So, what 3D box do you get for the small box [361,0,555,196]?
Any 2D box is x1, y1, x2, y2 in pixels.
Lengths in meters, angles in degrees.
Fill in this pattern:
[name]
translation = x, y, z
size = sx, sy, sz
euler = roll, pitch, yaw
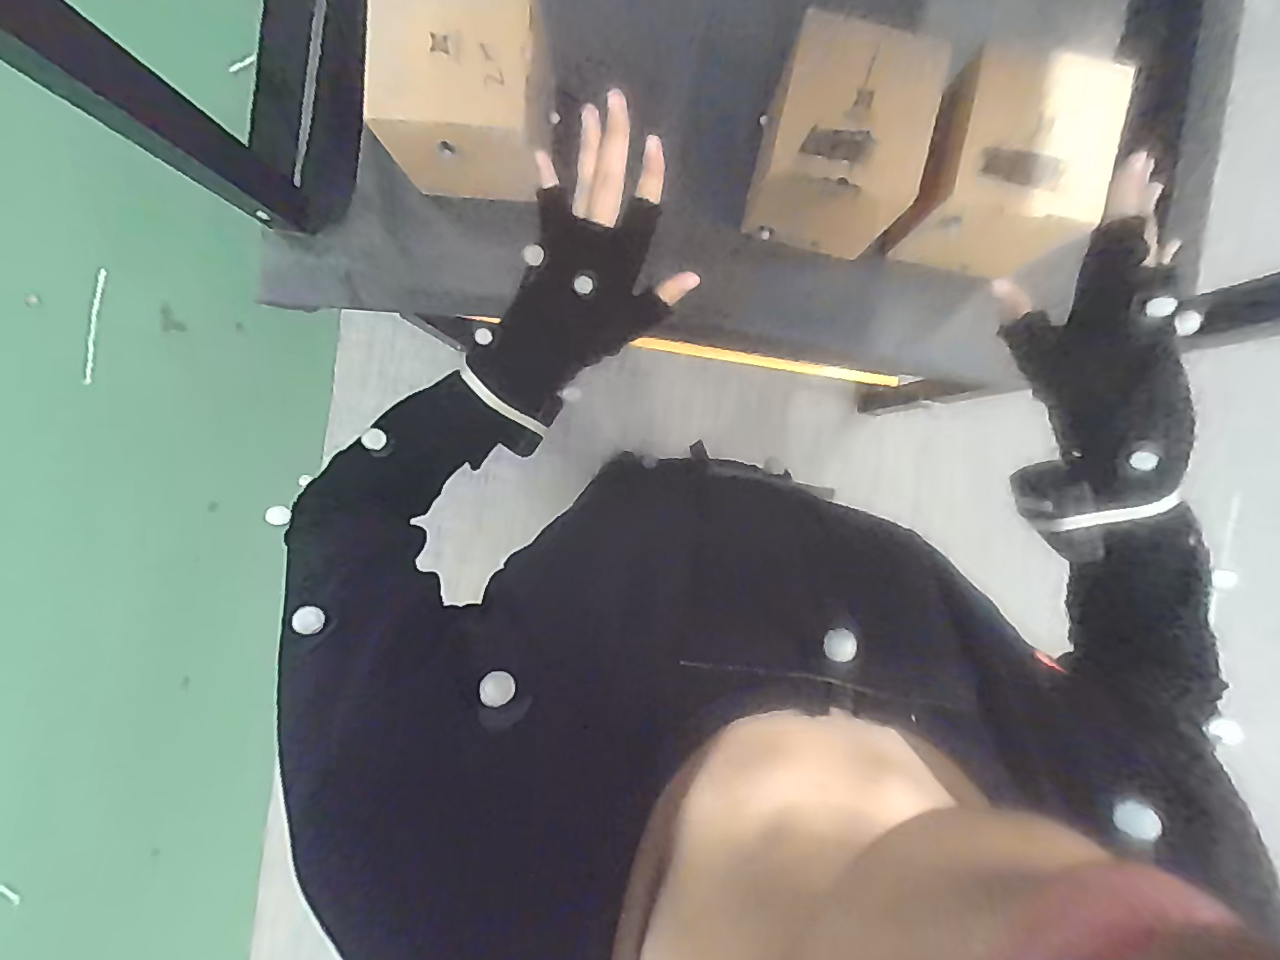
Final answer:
[small box]
translation = -0.208, -0.469, 0.656
size = 0.179, 0.176, 0.168
euler = 4, 93, -1
